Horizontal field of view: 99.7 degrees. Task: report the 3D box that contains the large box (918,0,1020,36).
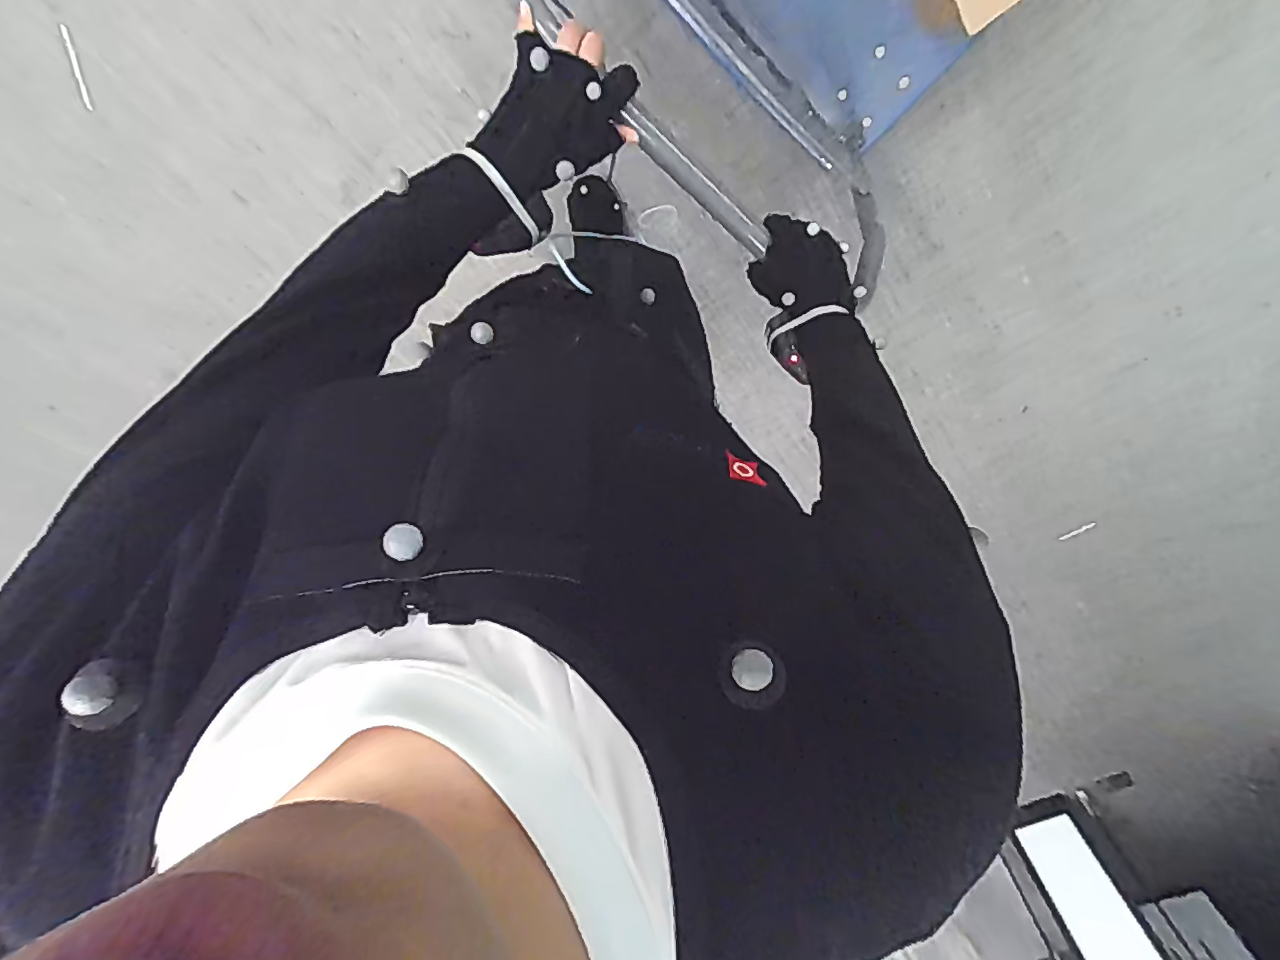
[{"bbox_3d":[0.450,-0.865,0.656,0.320,0.320,0.408,-27,120,32],"label":"large box"}]
